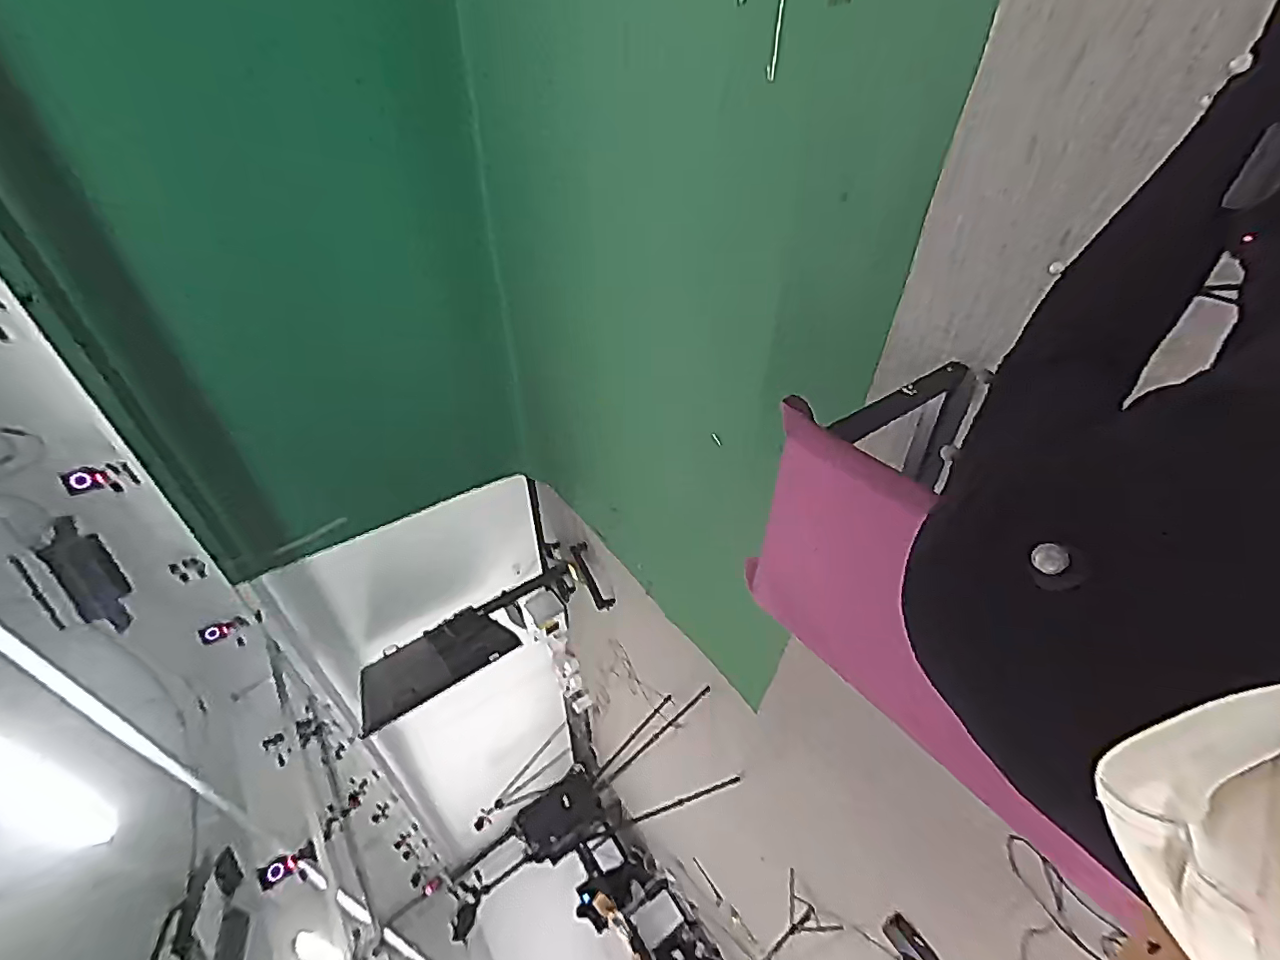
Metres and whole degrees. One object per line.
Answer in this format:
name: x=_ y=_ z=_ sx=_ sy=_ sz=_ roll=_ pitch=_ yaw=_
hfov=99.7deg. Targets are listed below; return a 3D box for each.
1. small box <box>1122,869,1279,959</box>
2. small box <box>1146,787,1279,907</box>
small box: x=0.736 y=0.627 z=0.662 sx=0.168 sy=0.176 sz=0.179 roll=39 pitch=145 yaw=39
small box: x=0.868 y=0.572 z=0.742 sx=0.168 sy=0.176 sz=0.179 roll=39 pitch=143 yaw=39
